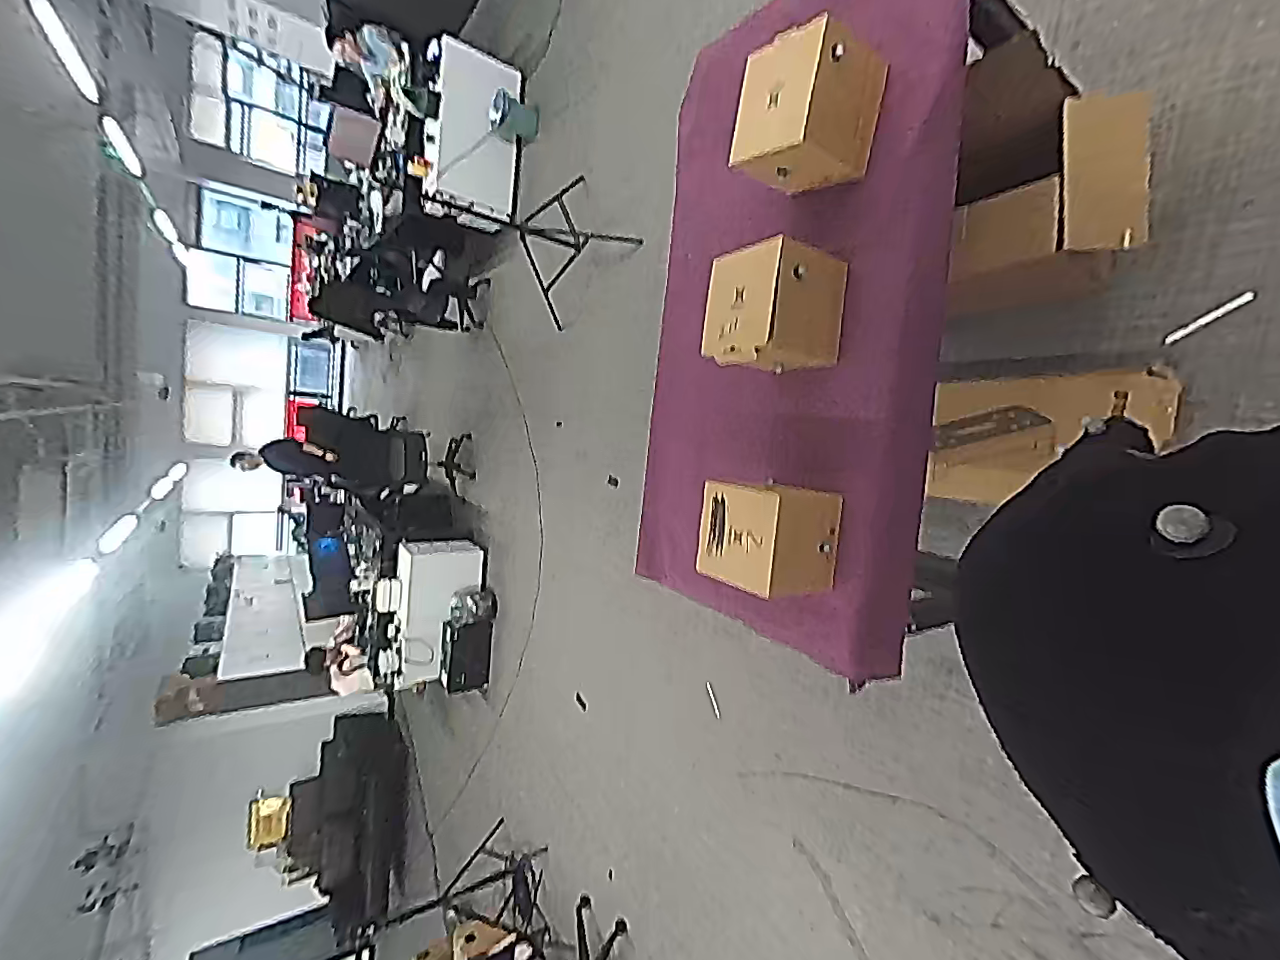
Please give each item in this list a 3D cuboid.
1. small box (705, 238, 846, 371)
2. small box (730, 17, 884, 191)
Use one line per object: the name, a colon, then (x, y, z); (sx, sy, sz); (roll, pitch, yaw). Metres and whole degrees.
small box: (0.238, -0.295, 0.950); (0.168, 0.176, 0.179); (11, 97, 57)
small box: (0.280, -0.608, 0.909); (0.168, 0.176, 0.179); (22, 106, 53)
